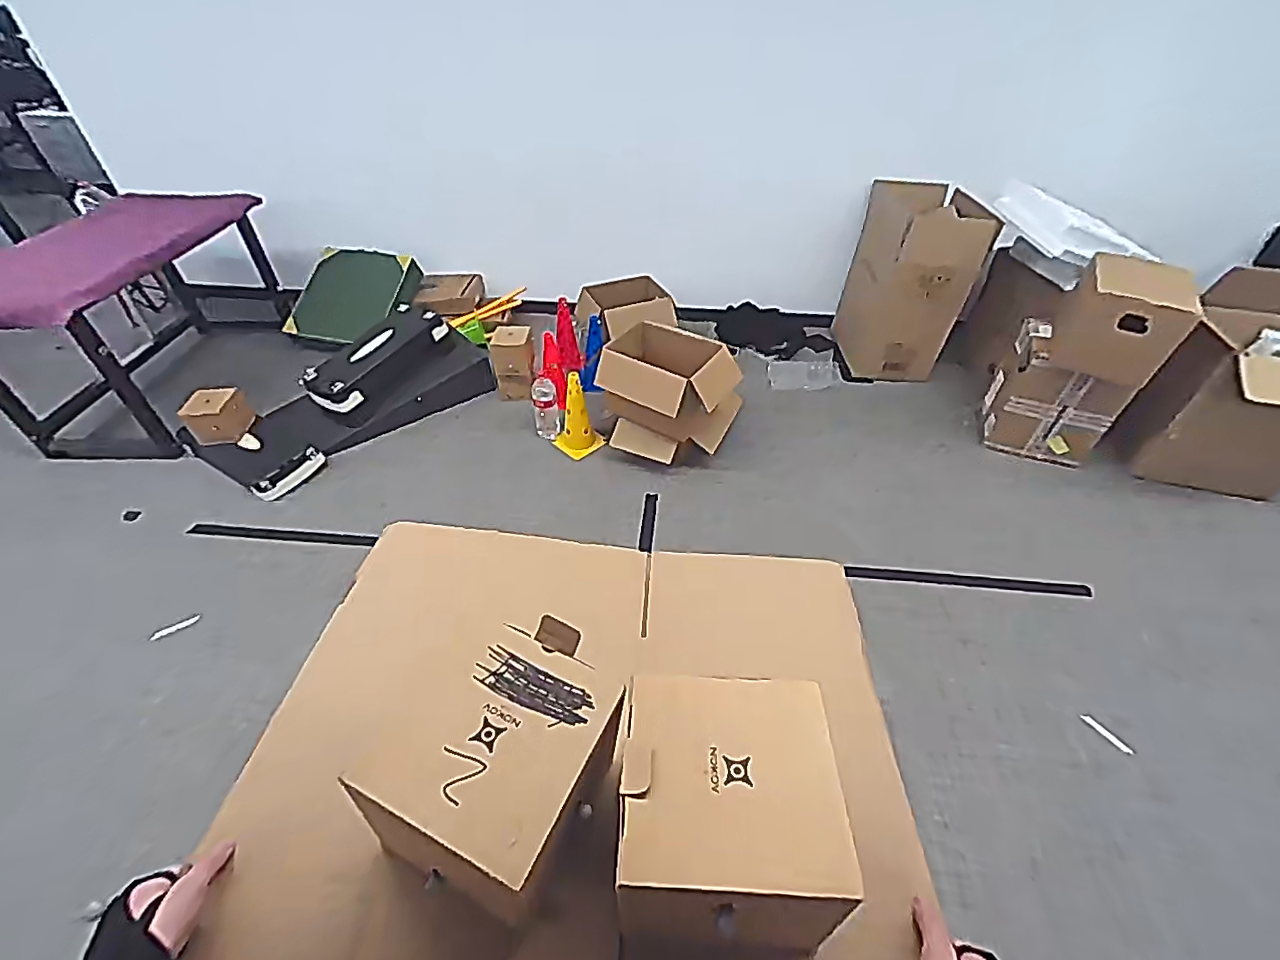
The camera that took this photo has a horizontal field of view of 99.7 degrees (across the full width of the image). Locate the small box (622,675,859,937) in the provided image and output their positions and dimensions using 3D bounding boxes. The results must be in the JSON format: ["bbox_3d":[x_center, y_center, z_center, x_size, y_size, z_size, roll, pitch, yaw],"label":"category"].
[{"bbox_3d":[0.078,0.304,0.506,0.179,0.176,0.168,1,40,3],"label":"small box"}]
